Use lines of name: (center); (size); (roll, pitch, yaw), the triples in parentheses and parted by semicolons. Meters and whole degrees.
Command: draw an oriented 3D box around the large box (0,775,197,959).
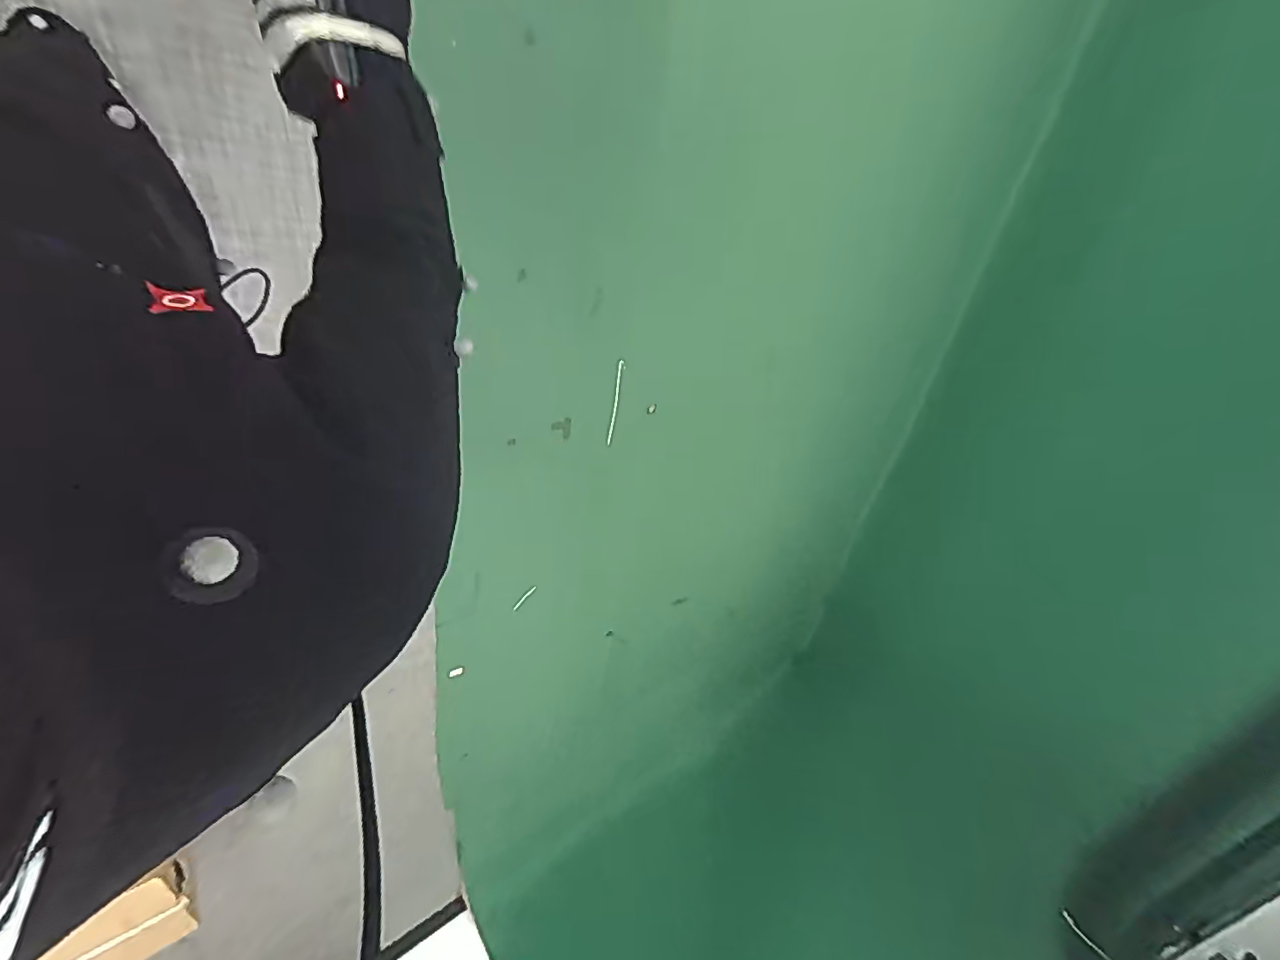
large box: (-1.413, 1.042, 1.350); (0.408, 0.320, 0.320); (-17, 130, -34)
